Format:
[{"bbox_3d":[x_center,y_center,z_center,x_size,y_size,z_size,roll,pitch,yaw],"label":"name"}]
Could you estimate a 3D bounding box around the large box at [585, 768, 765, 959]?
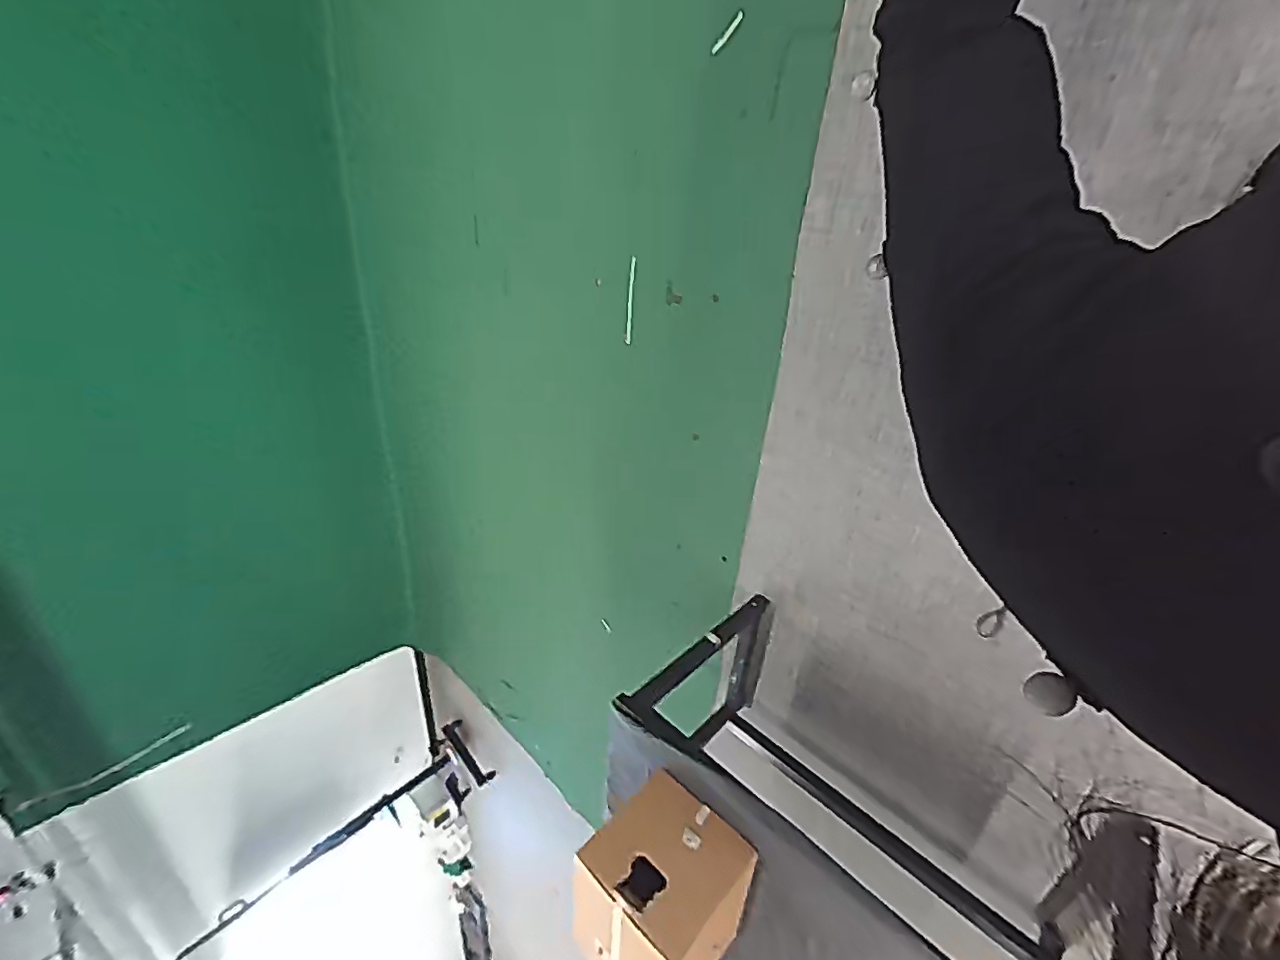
[{"bbox_3d":[0.082,1.033,1.343,0.320,0.320,0.408,25,125,37],"label":"large box"}]
